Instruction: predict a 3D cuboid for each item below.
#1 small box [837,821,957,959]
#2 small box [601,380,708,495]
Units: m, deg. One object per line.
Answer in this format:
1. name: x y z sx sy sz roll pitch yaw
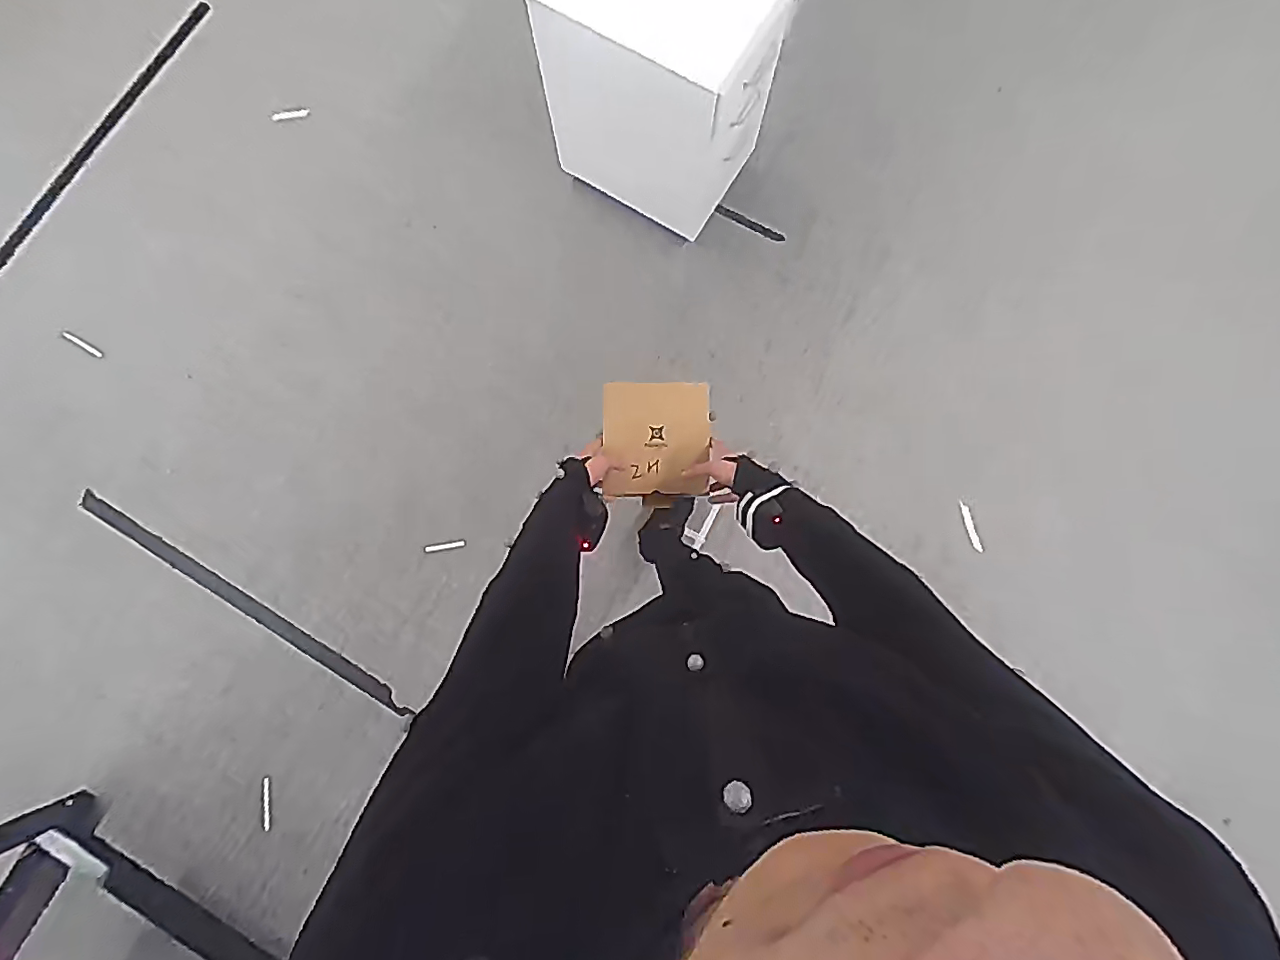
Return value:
1. small box: 0.588 0.957 1.266 0.168 0.176 0.179 35 82 5
2. small box: 0.022 -0.064 0.906 0.168 0.176 0.179 0 89 1
